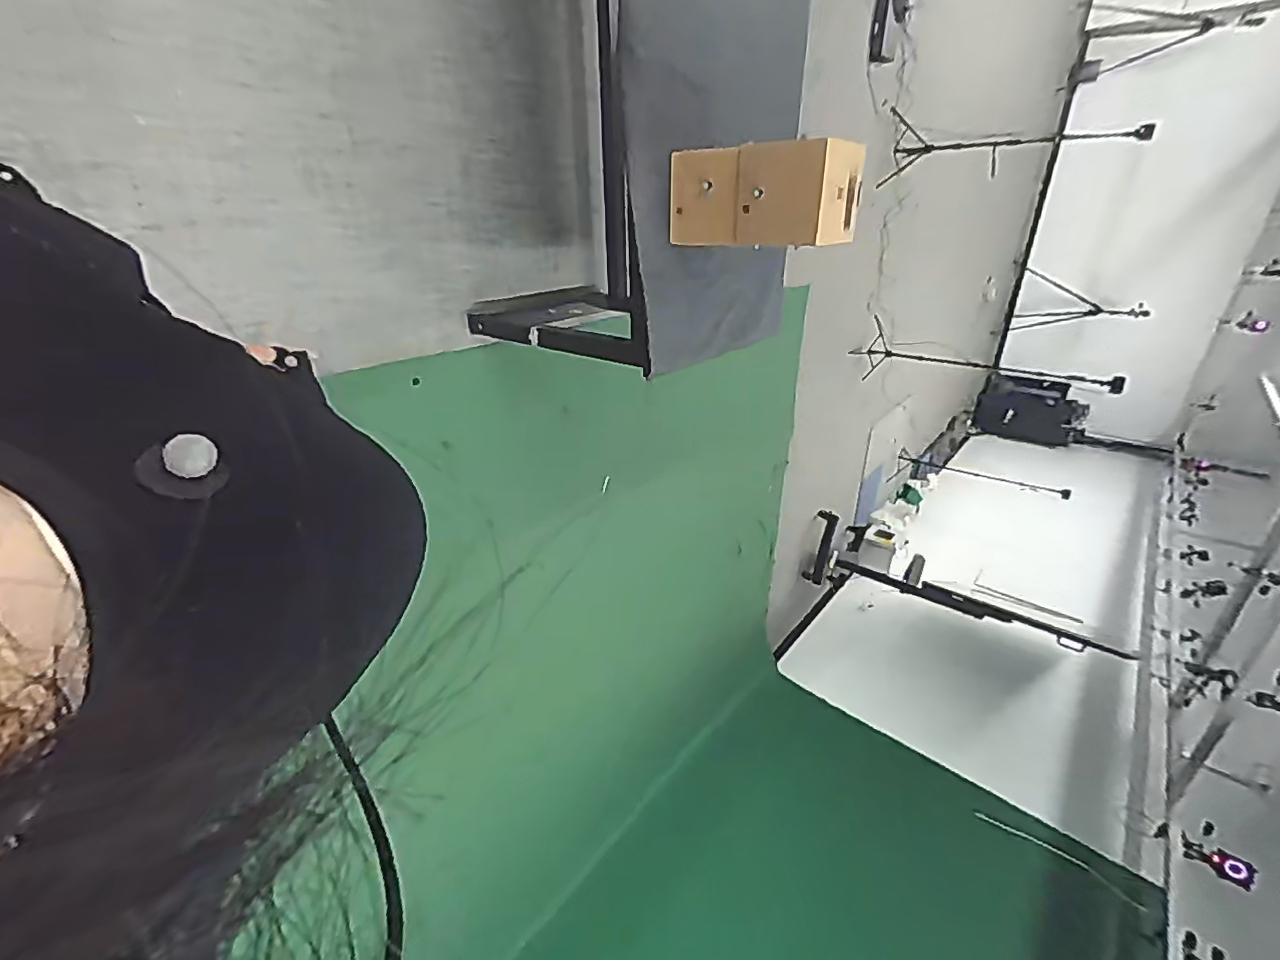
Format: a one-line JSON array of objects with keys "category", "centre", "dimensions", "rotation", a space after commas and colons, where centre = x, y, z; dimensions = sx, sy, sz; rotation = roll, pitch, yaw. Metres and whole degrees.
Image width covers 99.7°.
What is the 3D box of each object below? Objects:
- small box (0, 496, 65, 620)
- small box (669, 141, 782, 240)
[{"category": "small box", "centre": [-1.187, 0.146, 0.958], "dimensions": [0.168, 0.176, 0.179], "rotation": [-36, 133, -36]}, {"category": "small box", "centre": [0.171, -0.585, 1.109], "dimensions": [0.179, 0.176, 0.168], "rotation": [-29, 128, -43]}]
